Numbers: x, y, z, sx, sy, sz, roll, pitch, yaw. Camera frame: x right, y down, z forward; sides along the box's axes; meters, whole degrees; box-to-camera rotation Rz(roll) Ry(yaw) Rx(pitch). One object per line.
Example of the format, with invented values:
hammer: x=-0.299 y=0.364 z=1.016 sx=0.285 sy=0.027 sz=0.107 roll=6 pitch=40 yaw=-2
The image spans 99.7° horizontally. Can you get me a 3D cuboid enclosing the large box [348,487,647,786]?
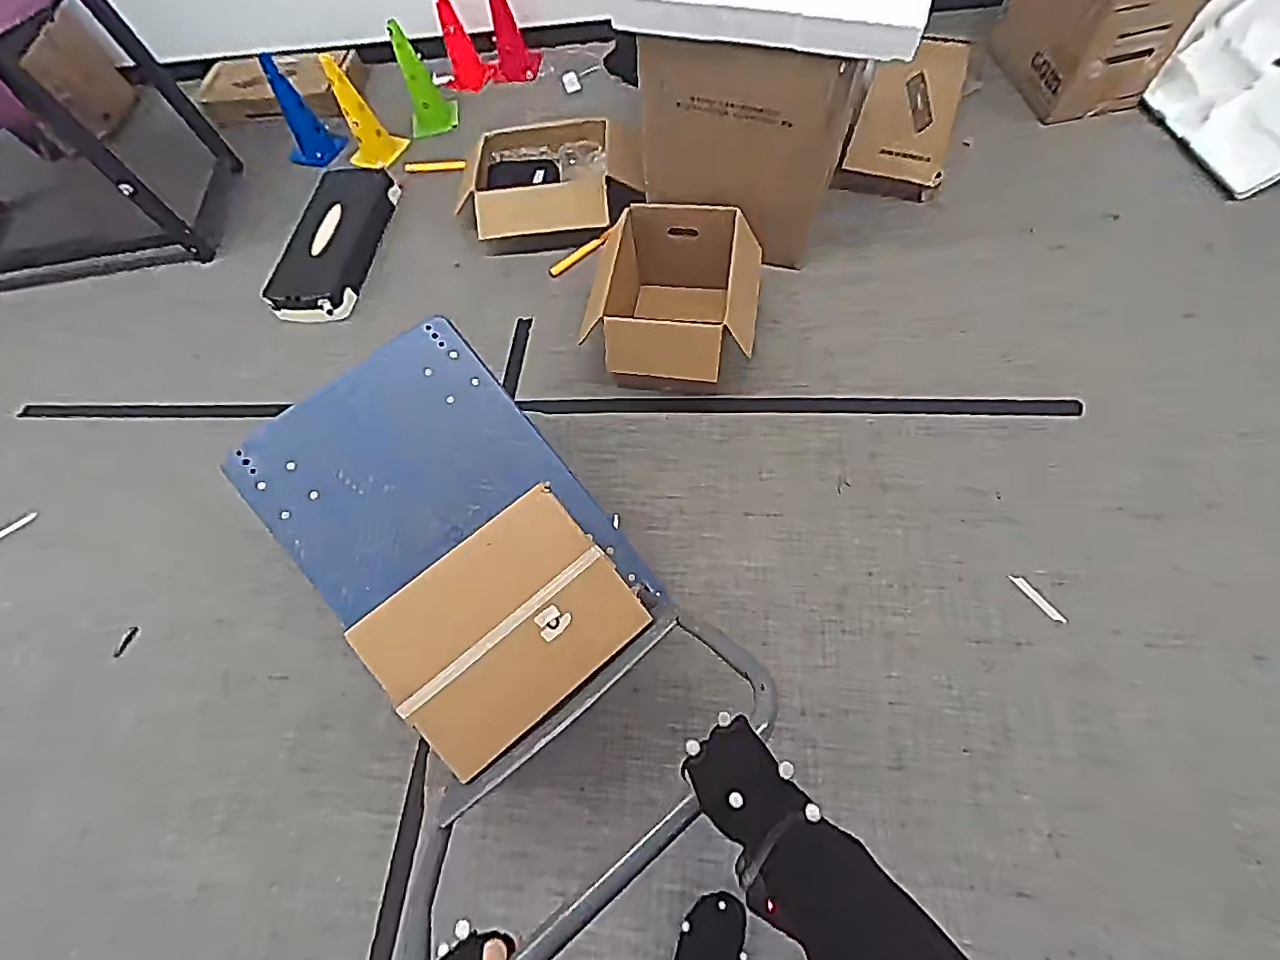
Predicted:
large box: x=-0.252 y=0.274 z=1.047 sx=0.408 sy=0.320 sz=0.320 roll=-39 pitch=90 yaw=-13
